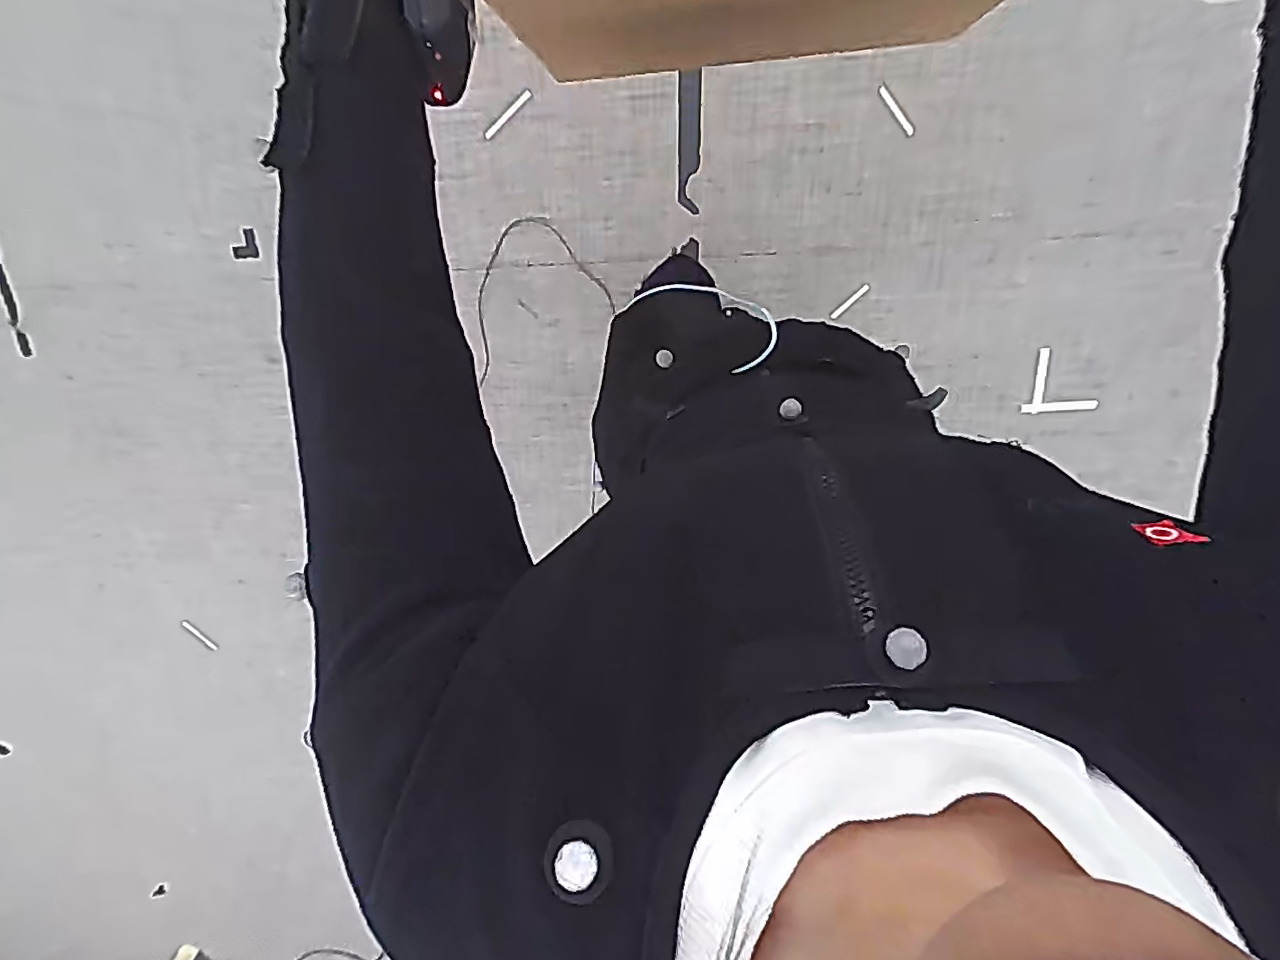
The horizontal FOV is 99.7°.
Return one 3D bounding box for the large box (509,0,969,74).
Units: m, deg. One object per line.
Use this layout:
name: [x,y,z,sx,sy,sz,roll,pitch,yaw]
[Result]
large box: [0.083,-0.520,0.359,0.408,0.320,0.320,-2,114,6]
